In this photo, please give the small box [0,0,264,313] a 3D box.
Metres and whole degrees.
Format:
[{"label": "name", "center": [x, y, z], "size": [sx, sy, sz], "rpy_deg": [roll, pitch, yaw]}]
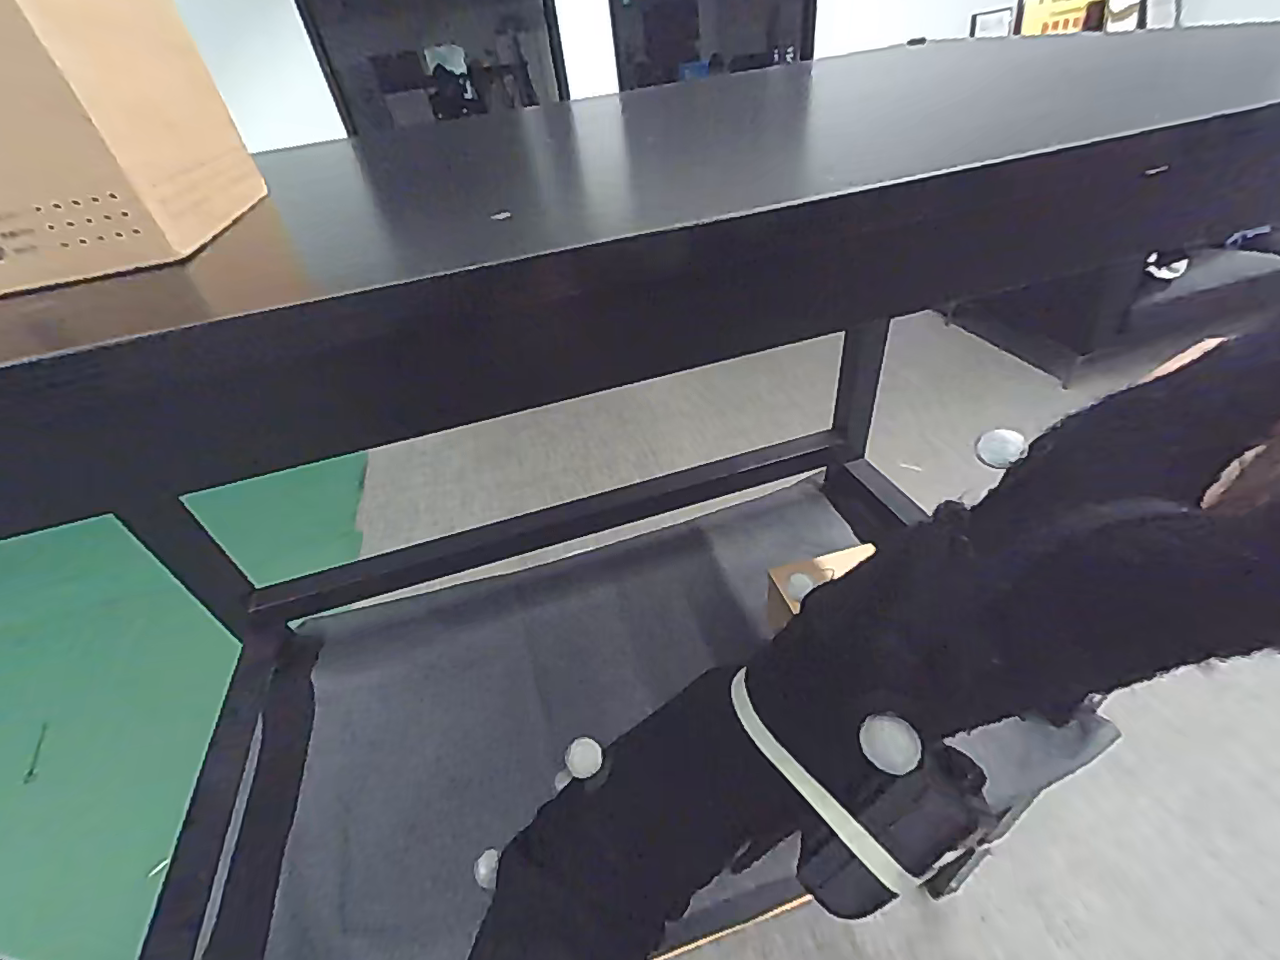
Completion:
[{"label": "small box", "center": [-0.304, -0.174, 0.233], "size": [0.168, 0.176, 0.179], "rpy_deg": [-16, 38, -10]}]
